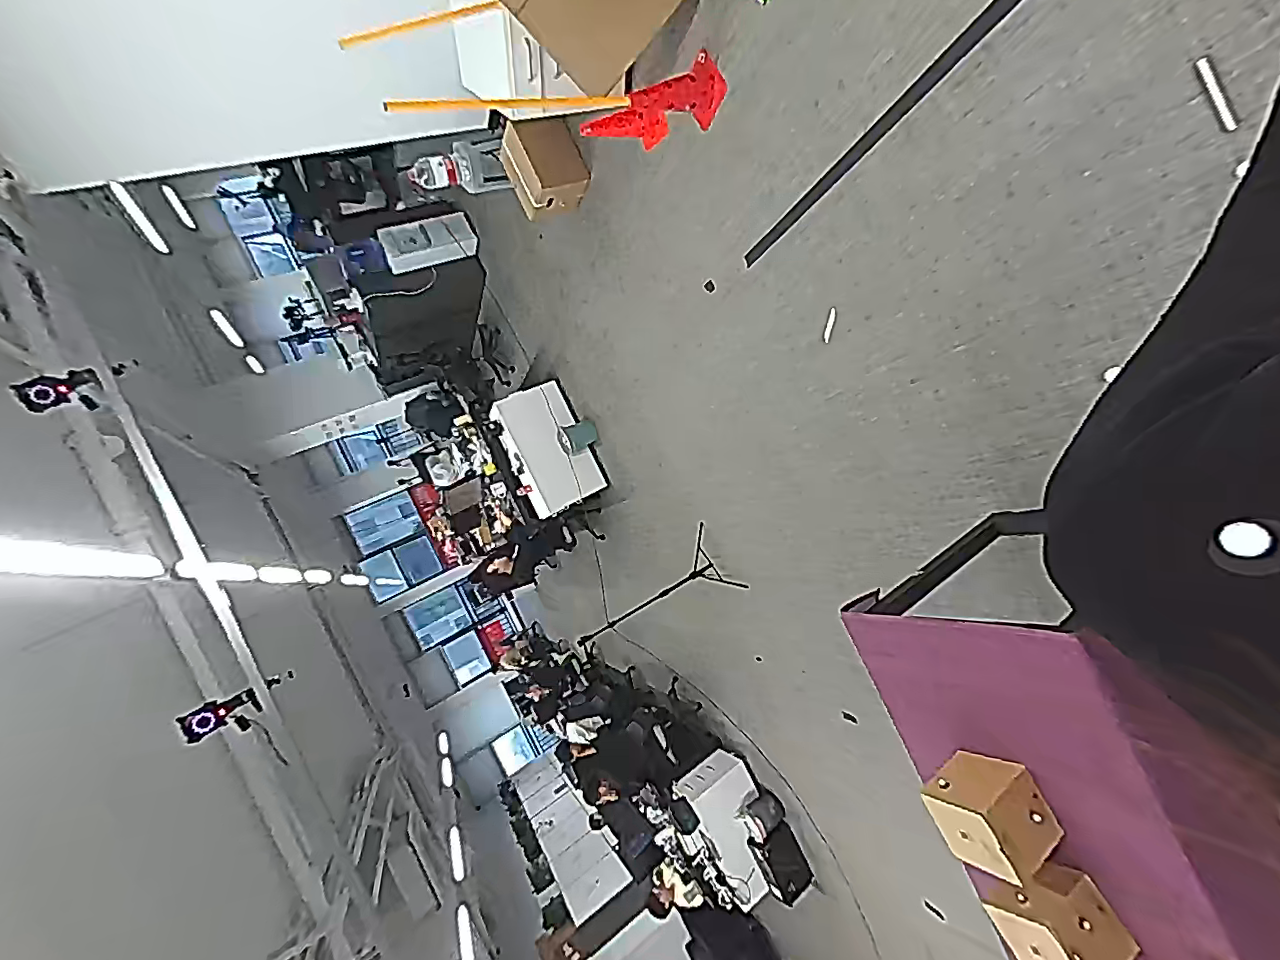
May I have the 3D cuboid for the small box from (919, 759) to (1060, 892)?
[{"bbox_3d":[0.789,0.765,1.225,0.168,0.176,0.179,62,156,4],"label":"small box"}]

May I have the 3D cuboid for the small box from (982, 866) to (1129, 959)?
[{"bbox_3d":[0.919,0.995,1.192,0.168,0.176,0.179,59,156,12],"label":"small box"}]
